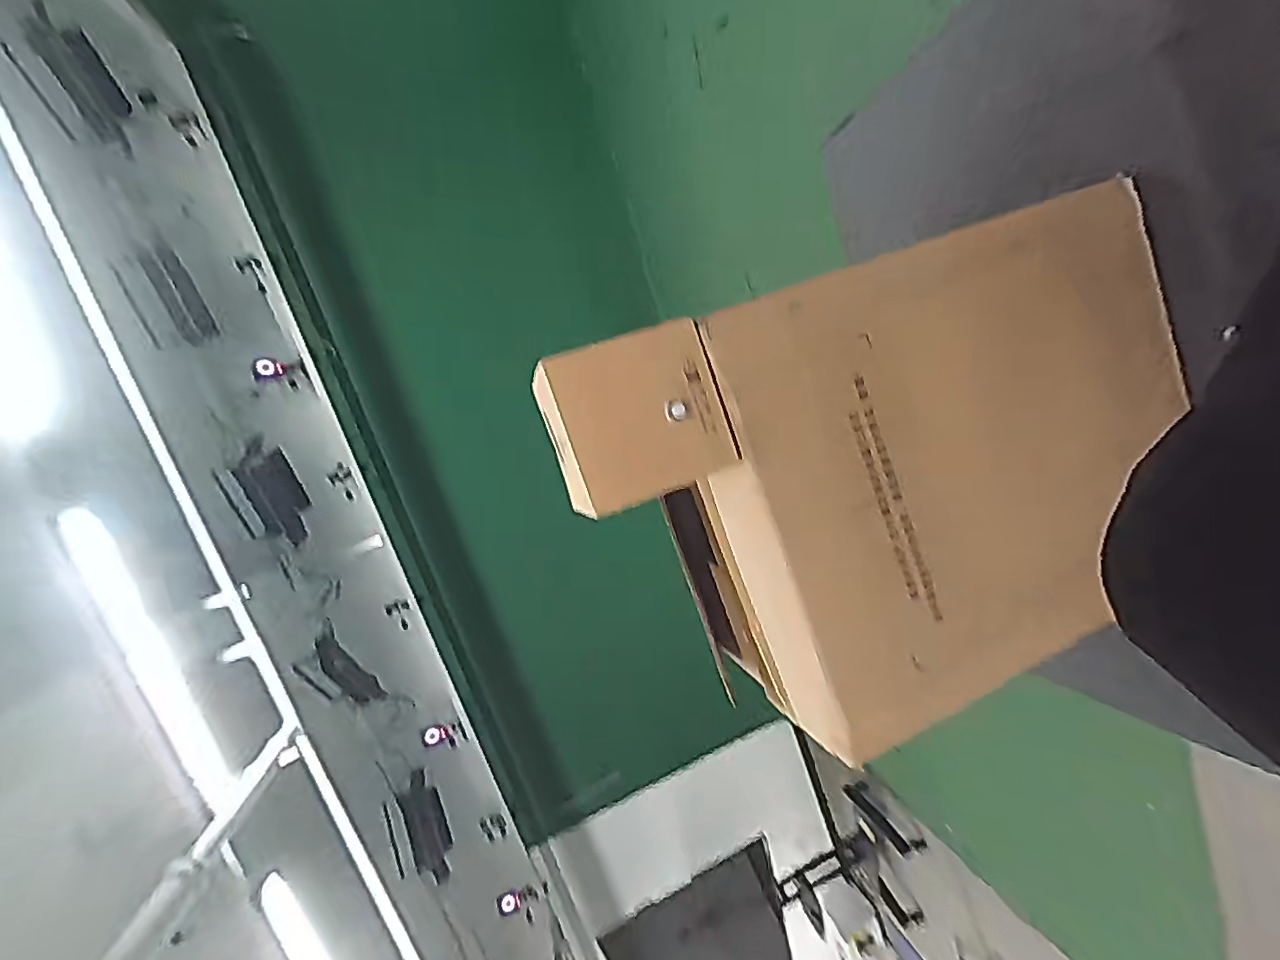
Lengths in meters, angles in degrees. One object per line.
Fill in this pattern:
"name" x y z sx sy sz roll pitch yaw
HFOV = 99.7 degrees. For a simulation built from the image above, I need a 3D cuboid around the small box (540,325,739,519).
"small box" -0.007 -0.065 0.637 0.179 0.176 0.168 -179 70 -75
